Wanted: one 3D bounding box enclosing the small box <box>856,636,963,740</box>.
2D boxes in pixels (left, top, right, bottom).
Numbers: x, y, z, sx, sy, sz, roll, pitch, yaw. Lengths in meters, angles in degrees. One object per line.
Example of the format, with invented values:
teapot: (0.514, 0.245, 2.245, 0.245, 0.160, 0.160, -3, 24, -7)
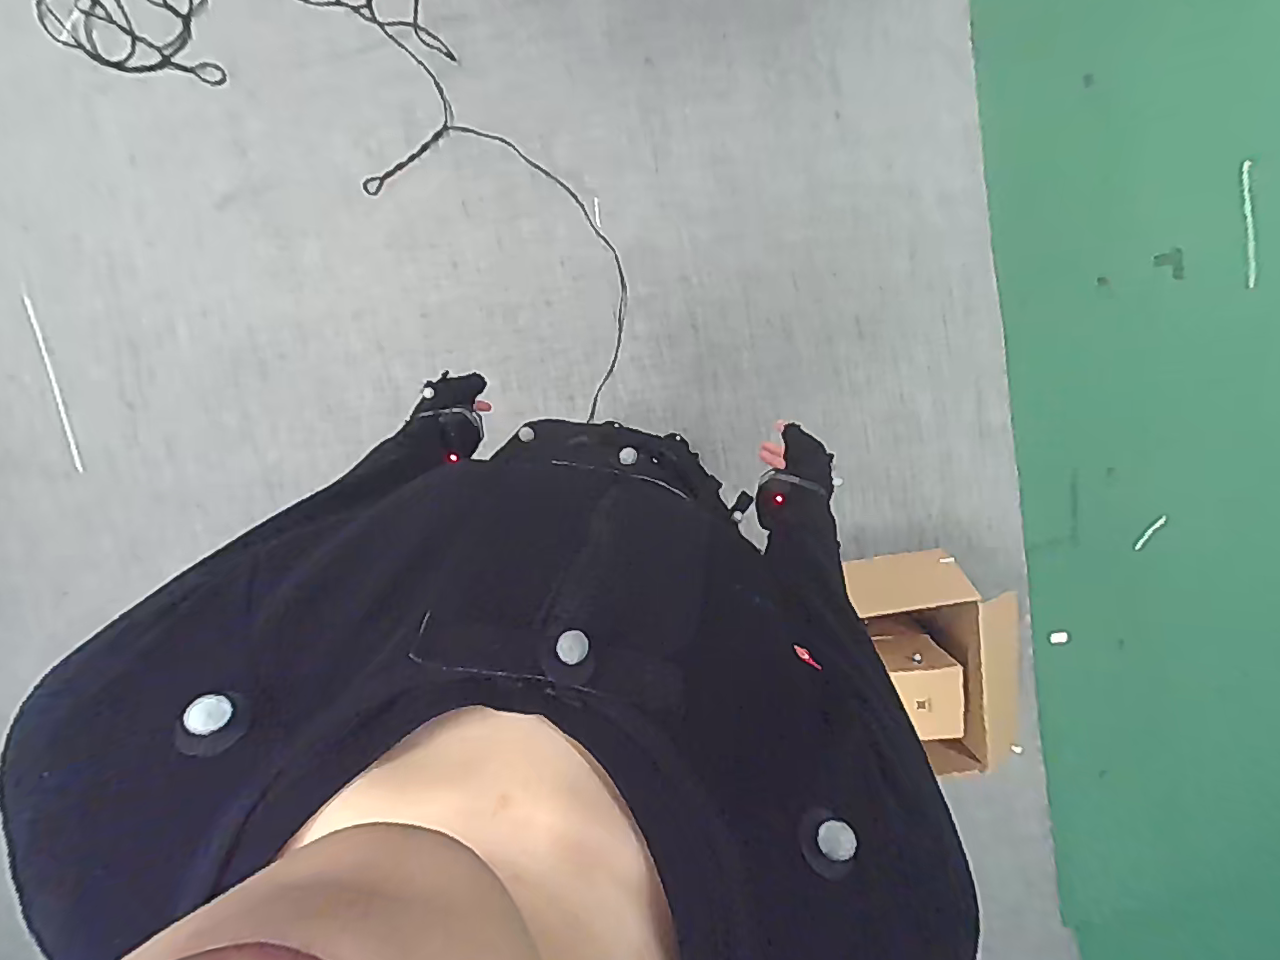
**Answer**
small box: (0.619, 0.478, 1.263, 0.179, 0.176, 0.168, -6, 96, 1)
